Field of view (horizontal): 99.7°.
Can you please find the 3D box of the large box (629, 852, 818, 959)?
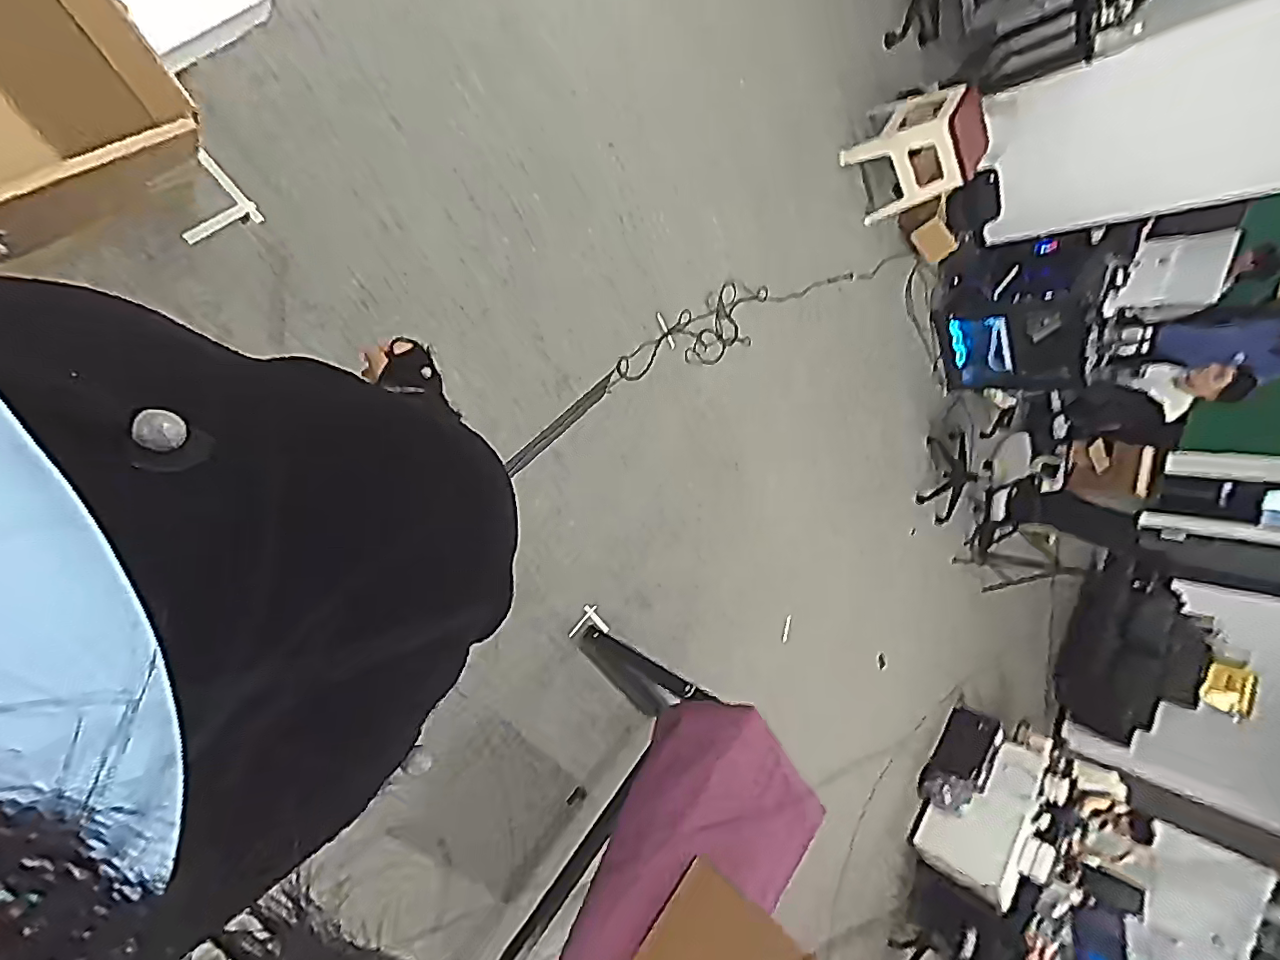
[{"bbox_3d":[0.166,1.132,1.153,0.408,0.320,0.320,-47,125,-26],"label":"large box"}]
